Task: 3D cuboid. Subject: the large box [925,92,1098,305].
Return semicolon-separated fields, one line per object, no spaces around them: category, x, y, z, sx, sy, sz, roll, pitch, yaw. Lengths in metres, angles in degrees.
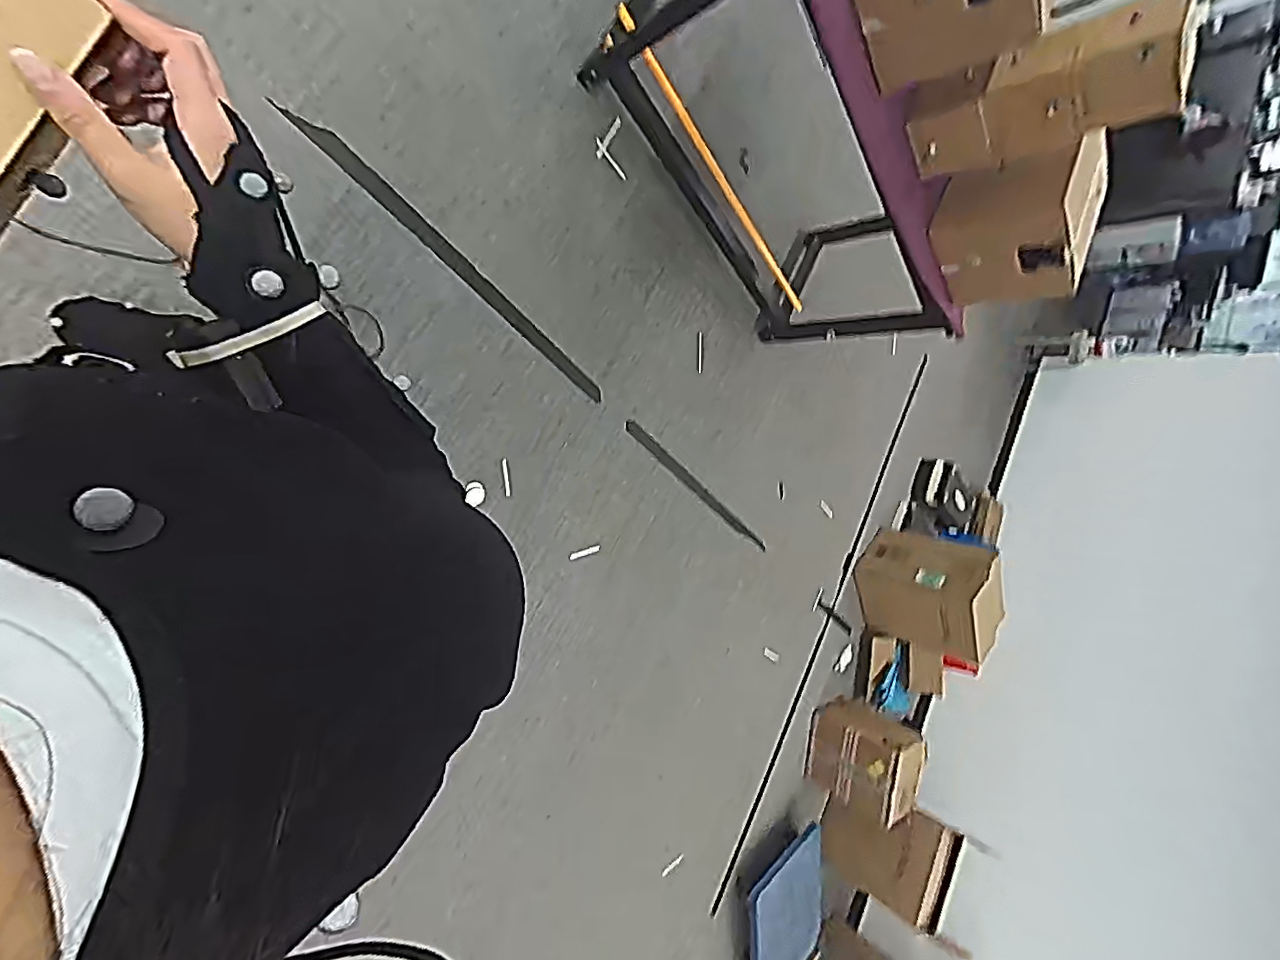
large box;1.064;-0.773;1.548;0.320;0.320;0.408;39;70;-40
